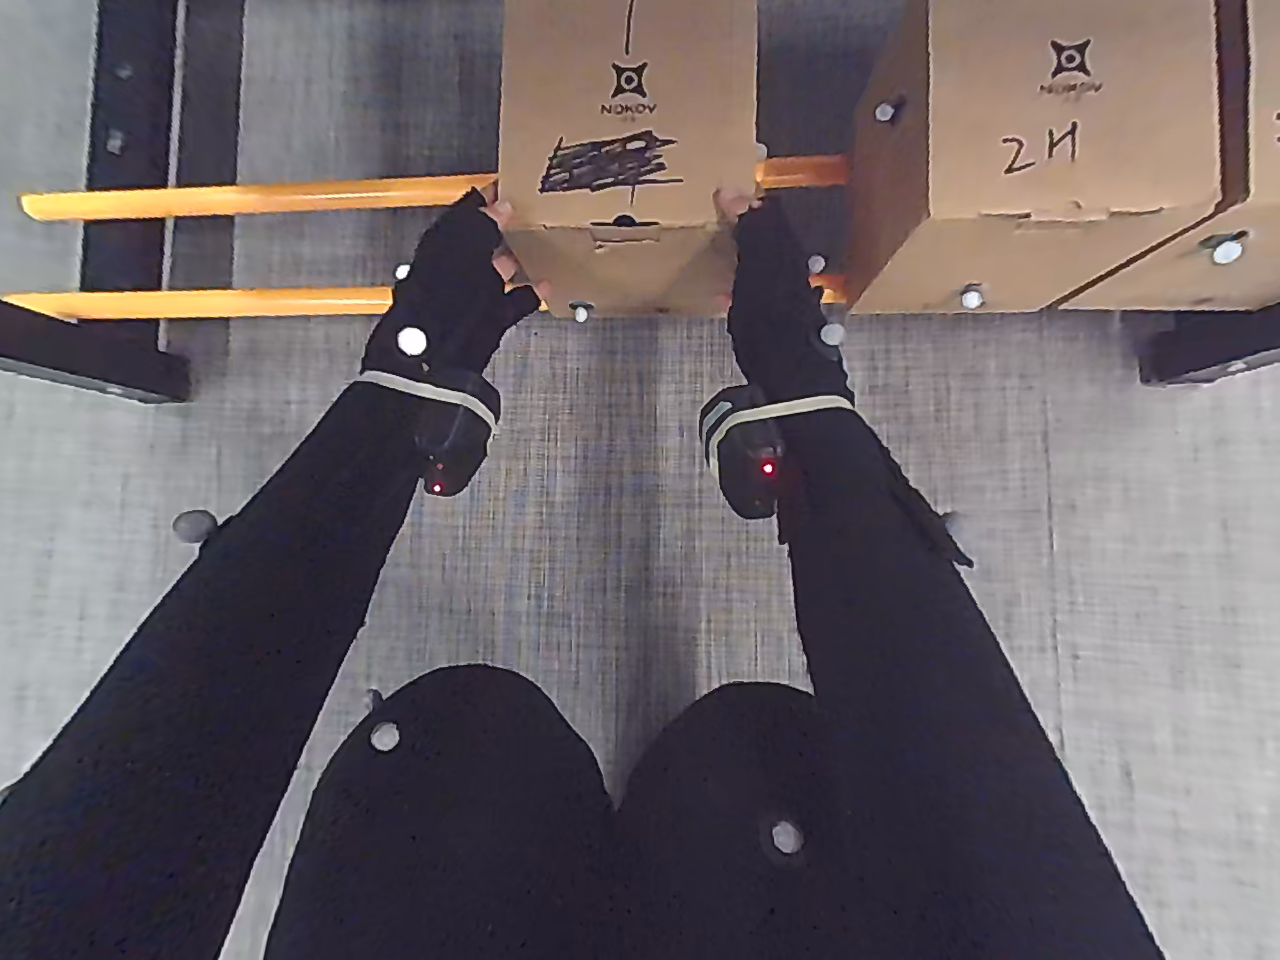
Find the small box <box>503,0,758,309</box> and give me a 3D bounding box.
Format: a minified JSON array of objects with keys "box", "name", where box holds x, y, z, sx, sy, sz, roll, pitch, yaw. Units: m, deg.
[{"box":[-0.001,-0.249,0.433,0.168,0.176,0.179,2,86,3],"name":"small box"}]
